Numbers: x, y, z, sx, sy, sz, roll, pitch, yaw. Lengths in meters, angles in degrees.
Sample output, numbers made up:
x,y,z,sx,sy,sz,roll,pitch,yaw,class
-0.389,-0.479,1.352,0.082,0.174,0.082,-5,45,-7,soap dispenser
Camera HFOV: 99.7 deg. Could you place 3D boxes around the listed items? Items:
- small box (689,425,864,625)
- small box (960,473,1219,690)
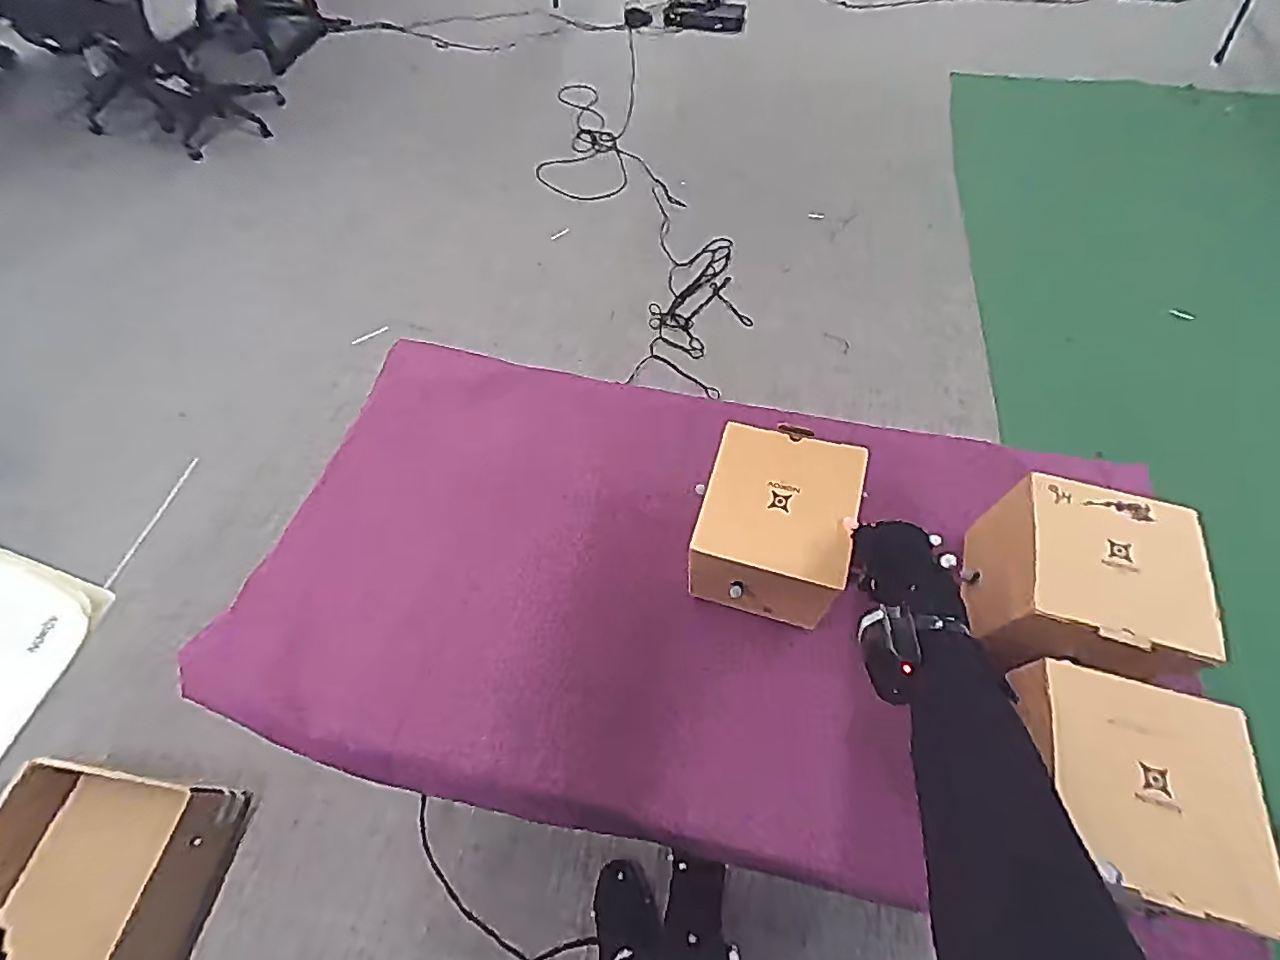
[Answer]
x,y,z,sx,sy,sz,roll,pitch,yaw,class
0.164,0.062,0.674,0.168,0.176,0.179,13,61,13,small box
0.497,0.124,0.629,0.168,0.176,0.179,16,62,12,small box
